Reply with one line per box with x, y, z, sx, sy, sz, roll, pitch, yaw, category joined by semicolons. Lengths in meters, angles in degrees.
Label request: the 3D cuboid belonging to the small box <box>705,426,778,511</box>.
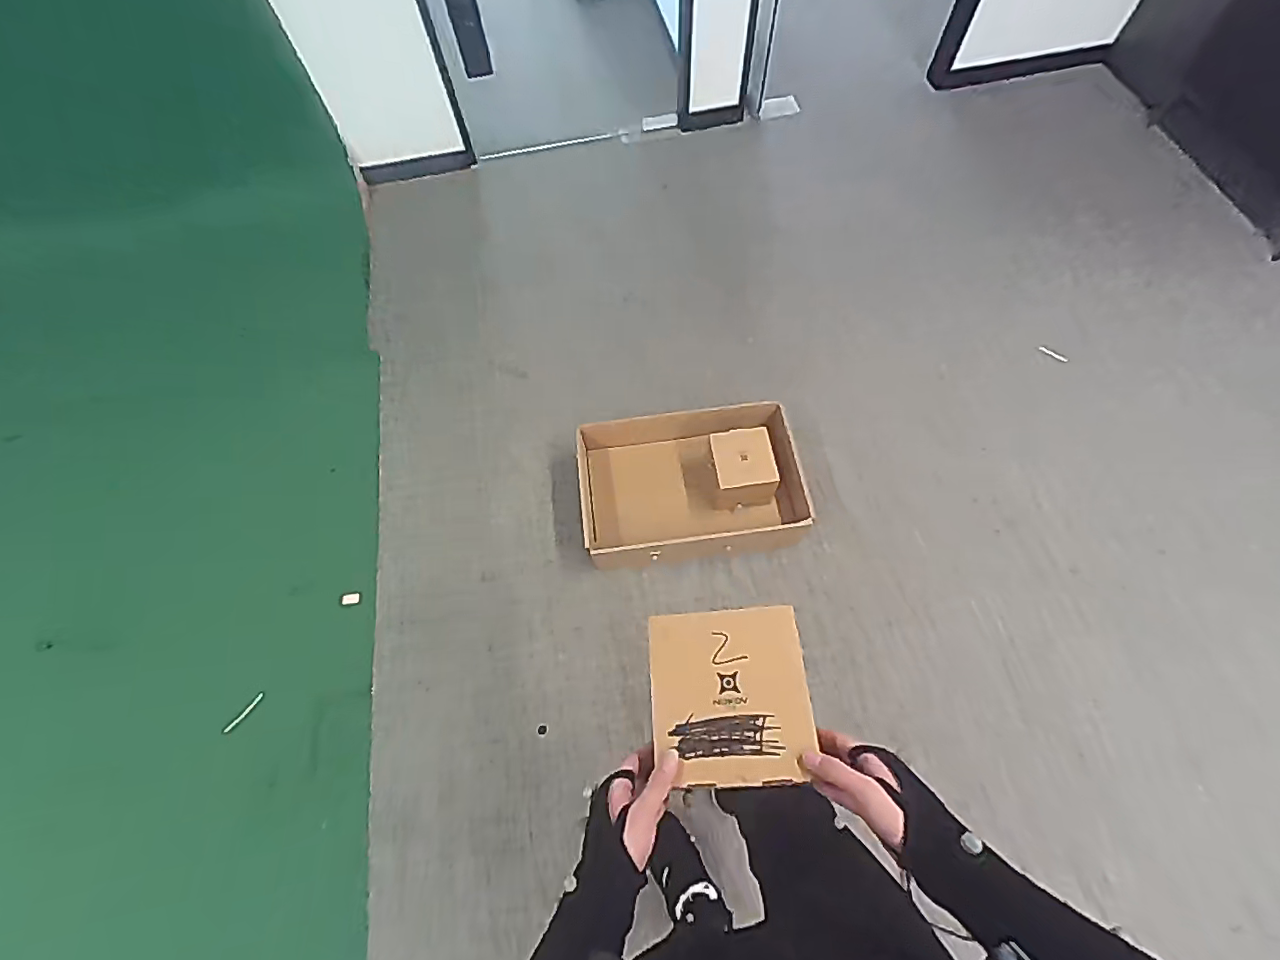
0.283;-0.030;1.551;0.168;0.176;0.179;-8;64;0;small box
